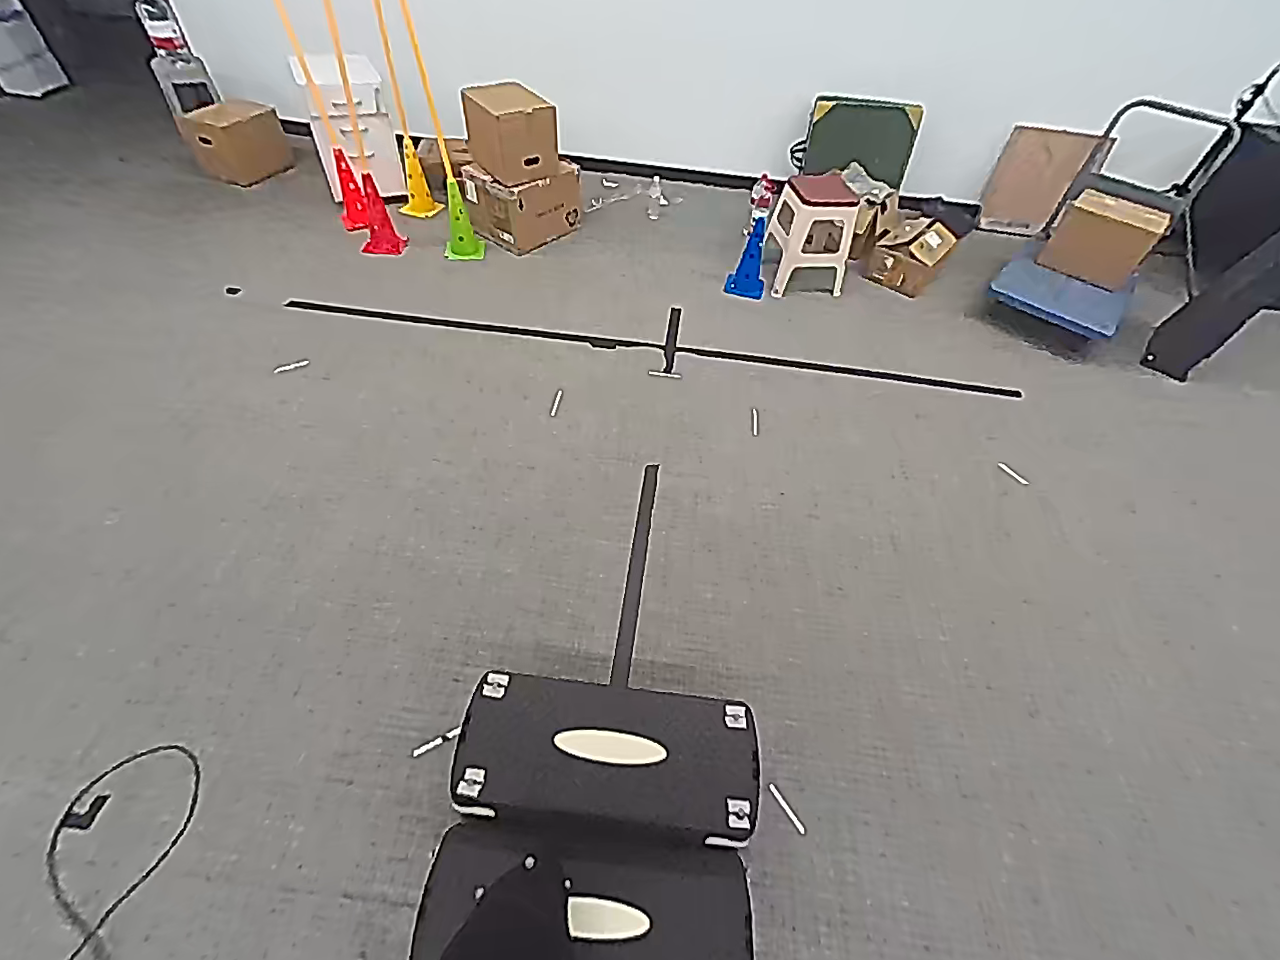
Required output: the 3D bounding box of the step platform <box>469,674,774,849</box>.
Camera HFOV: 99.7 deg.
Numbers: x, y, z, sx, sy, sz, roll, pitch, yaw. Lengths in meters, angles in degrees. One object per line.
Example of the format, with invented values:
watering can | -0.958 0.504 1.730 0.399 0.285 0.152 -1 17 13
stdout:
step platform | -0.038 0.651 1.263 0.684 0.204 0.286 7 49 -1
